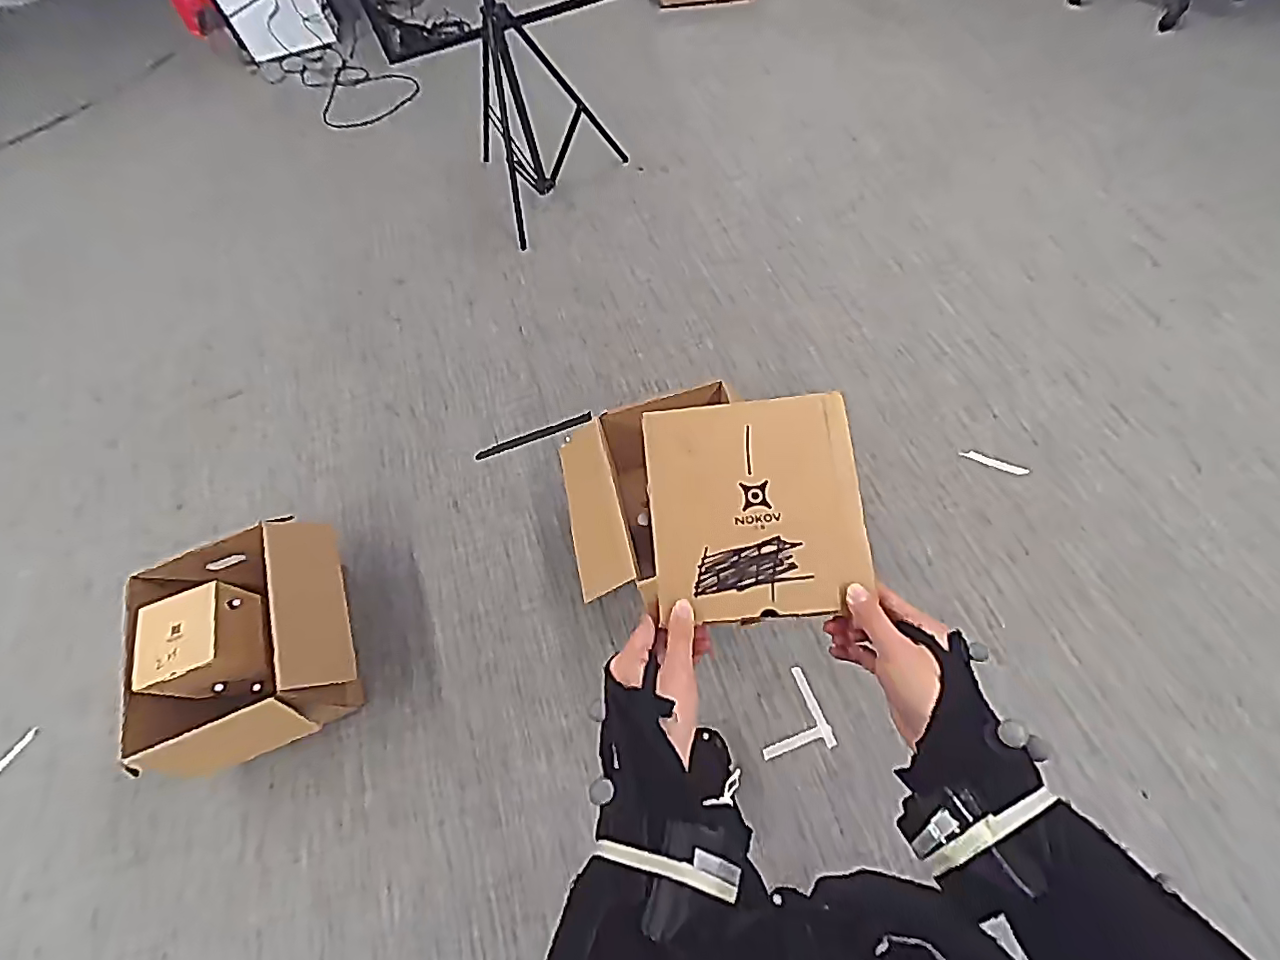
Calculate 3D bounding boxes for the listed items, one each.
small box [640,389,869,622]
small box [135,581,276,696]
[{"bbox_3d":[0.093,0.033,0.506,0.168,0.176,0.179,-6,77,3],"label":"small box"},{"bbox_3d":[-0.917,0.344,1.158,0.168,0.176,0.179,-21,63,-2],"label":"small box"}]
